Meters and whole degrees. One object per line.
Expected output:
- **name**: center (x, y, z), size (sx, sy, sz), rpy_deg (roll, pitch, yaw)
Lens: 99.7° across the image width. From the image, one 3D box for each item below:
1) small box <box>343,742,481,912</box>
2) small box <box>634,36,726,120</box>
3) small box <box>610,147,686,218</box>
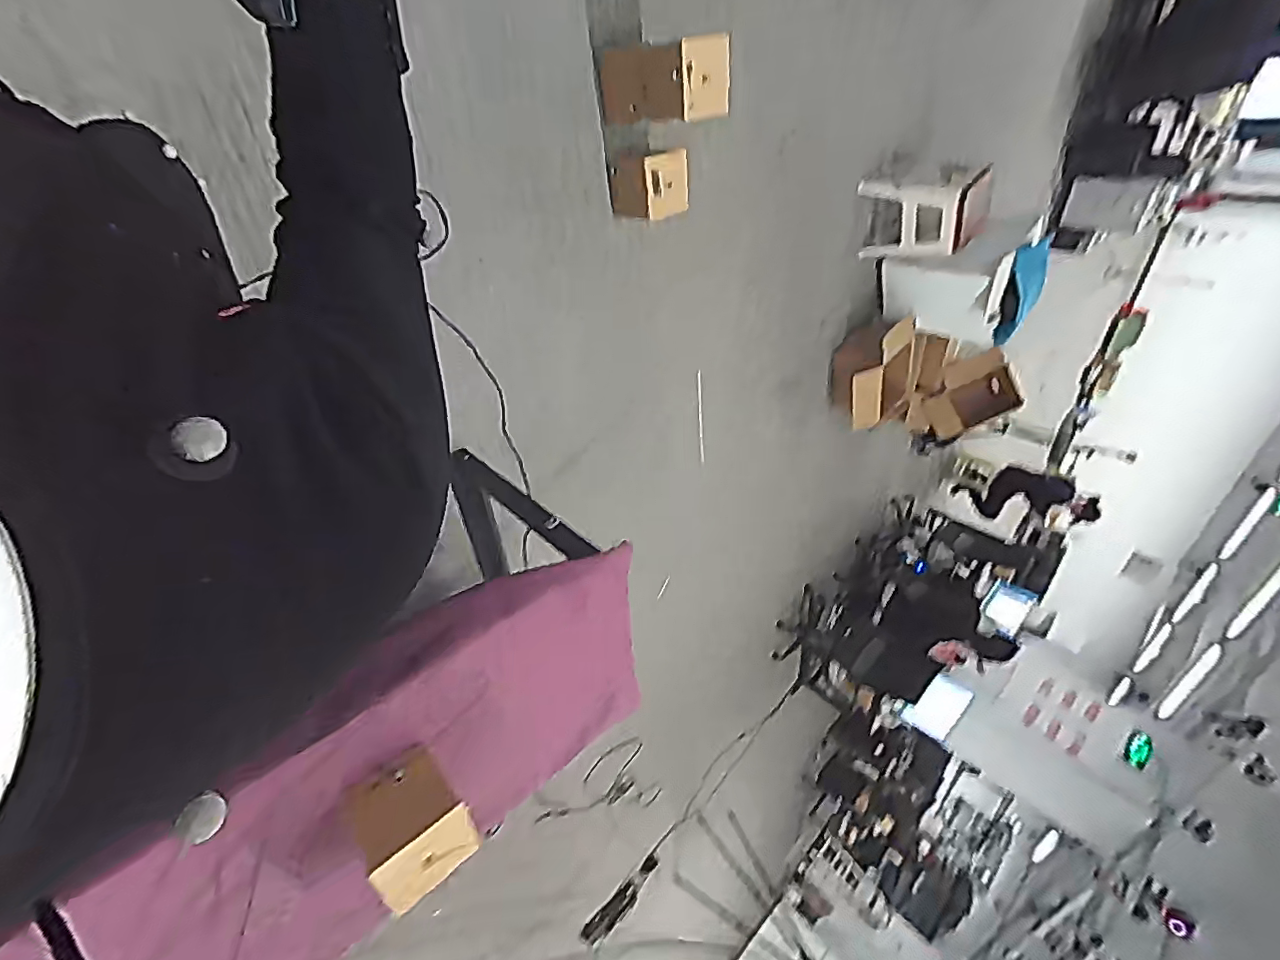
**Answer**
- **small box**: center (-0.422, 0.636, 1.009), size (0.168, 0.176, 0.179), rpy_deg (-28, 130, -34)
- **small box**: center (0.107, -1.057, 1.426), size (0.179, 0.176, 0.168), rpy_deg (-32, 133, -31)
- **small box**: center (0.021, -0.921, 1.672), size (0.179, 0.176, 0.168), rpy_deg (-33, 134, -30)
